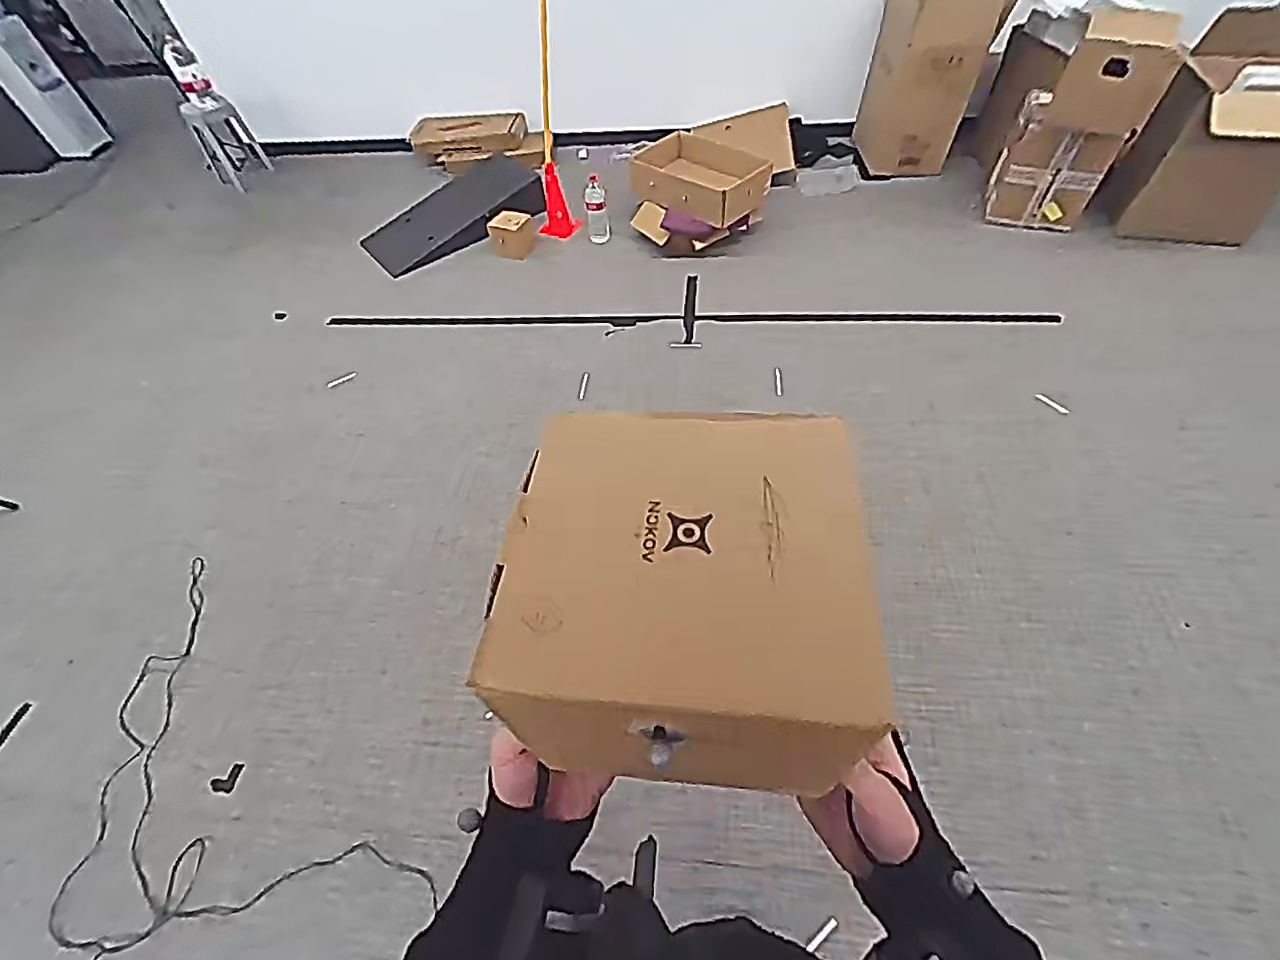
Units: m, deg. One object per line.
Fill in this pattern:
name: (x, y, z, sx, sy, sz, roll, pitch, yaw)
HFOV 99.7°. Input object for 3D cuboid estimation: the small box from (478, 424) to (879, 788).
small box: (0.028, 0.082, 0.340, 0.179, 0.176, 0.168, 2, 52, 7)
